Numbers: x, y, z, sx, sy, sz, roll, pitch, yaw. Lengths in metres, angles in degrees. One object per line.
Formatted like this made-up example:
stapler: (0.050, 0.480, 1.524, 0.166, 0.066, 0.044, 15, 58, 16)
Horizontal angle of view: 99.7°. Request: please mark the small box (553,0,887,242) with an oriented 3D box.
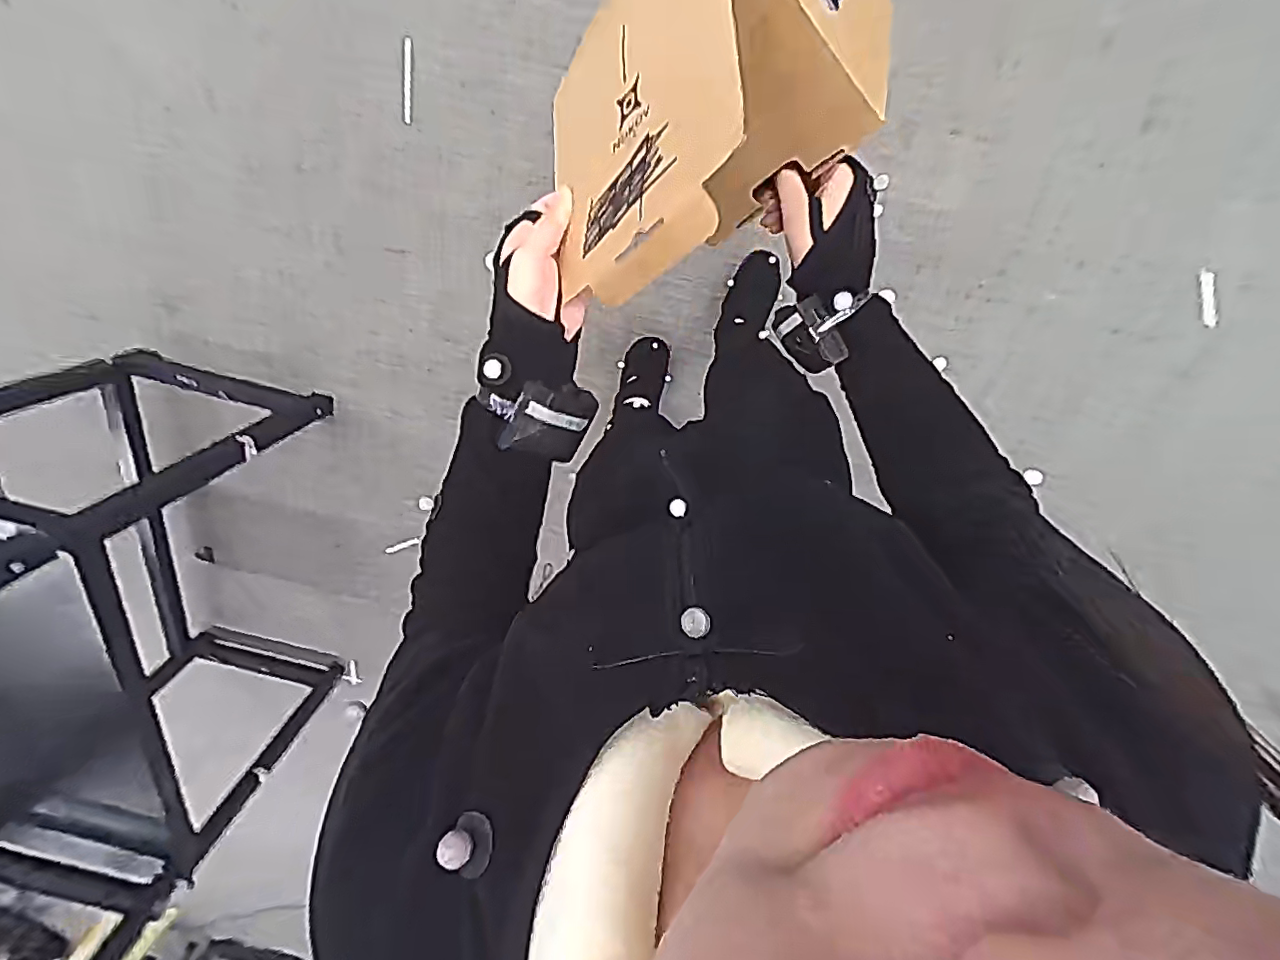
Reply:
small box: (0.069, -0.332, 0.408, 0.179, 0.176, 0.168, 31, 149, -30)
